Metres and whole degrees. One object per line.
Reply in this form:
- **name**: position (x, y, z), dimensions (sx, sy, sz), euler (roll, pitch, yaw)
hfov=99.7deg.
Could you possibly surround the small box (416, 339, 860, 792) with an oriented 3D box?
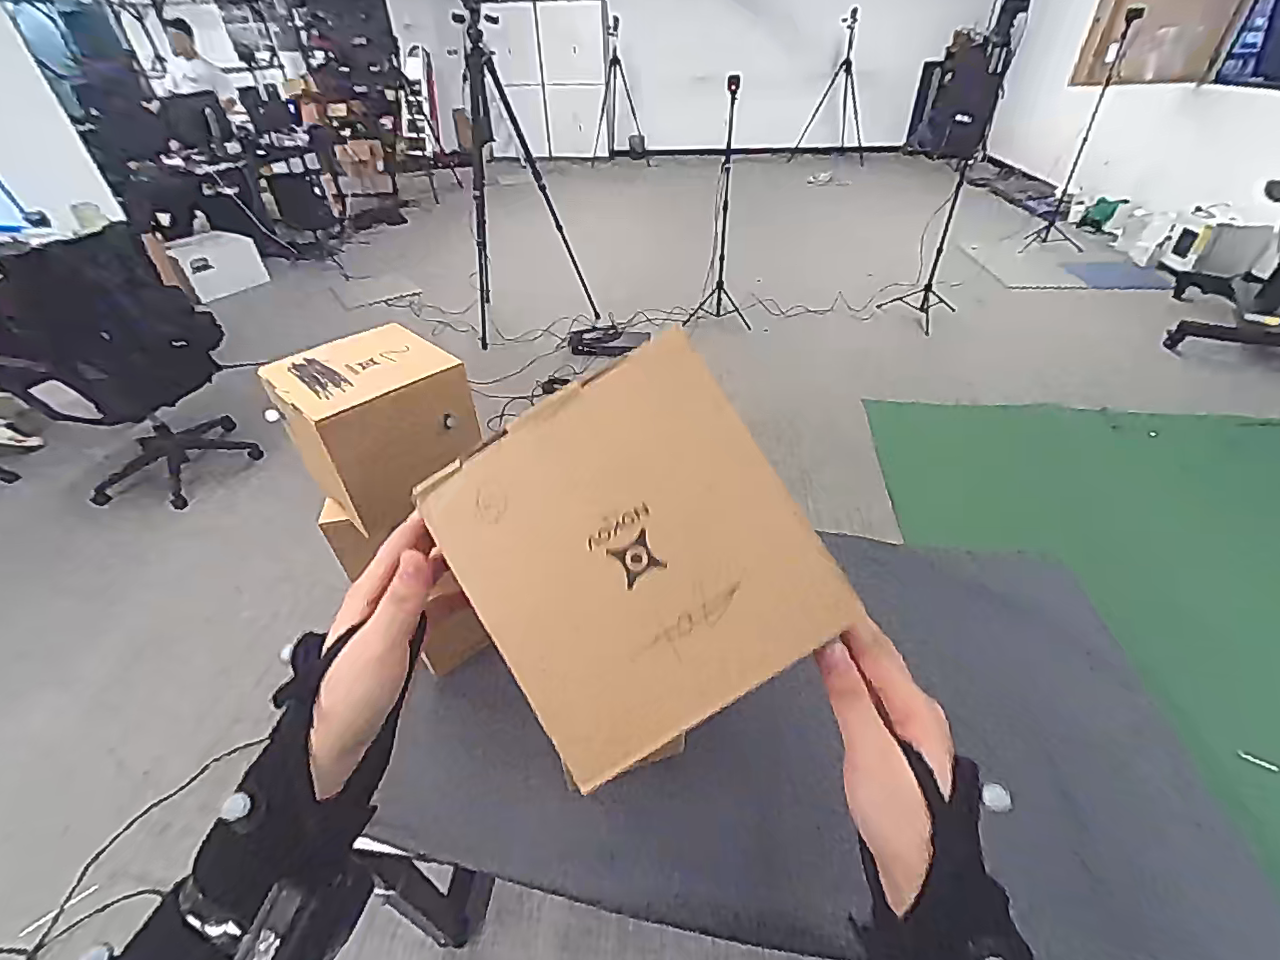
- **small box**: position (-0.001, 0.045, 0.351), dimensions (0.168, 0.176, 0.179), euler (-32, 86, 1)

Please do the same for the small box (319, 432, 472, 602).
- **small box**: position (-0.326, 0.054, 0.789), dimensions (0.179, 0.176, 0.168), euler (-9, 41, -7)

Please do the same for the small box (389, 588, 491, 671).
- **small box**: position (-0.320, 0.177, 0.898), dimensions (0.168, 0.176, 0.179), euler (-32, 48, -30)
